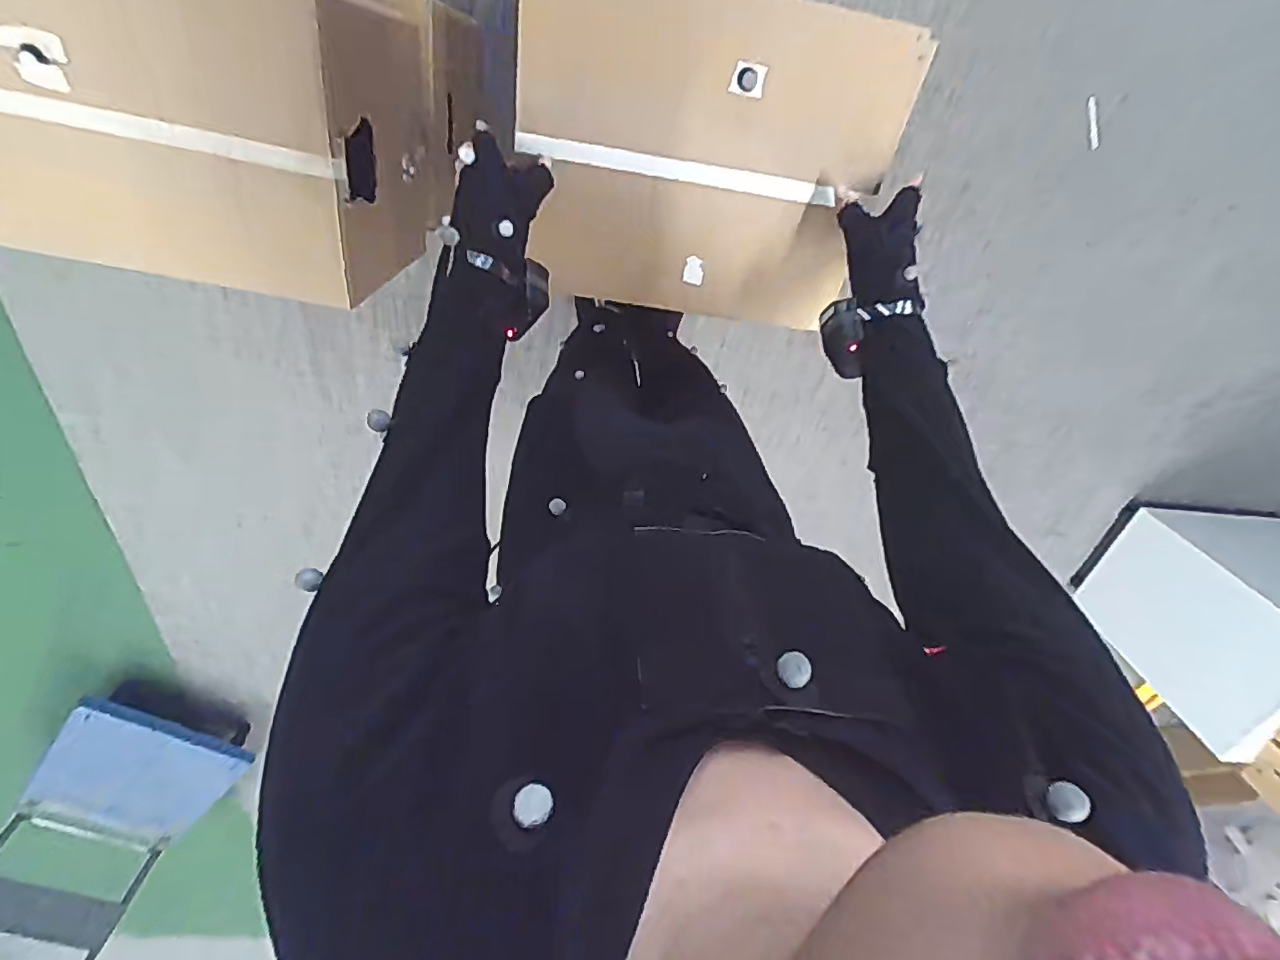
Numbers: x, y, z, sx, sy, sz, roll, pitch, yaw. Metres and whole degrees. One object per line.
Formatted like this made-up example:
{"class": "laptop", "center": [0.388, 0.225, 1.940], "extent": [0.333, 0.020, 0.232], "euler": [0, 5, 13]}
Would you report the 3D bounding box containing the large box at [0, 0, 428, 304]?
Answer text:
{"class": "large box", "center": [-0.522, -0.455, 0.683], "extent": [0.408, 0.320, 0.320], "euler": [9, 125, -7]}
